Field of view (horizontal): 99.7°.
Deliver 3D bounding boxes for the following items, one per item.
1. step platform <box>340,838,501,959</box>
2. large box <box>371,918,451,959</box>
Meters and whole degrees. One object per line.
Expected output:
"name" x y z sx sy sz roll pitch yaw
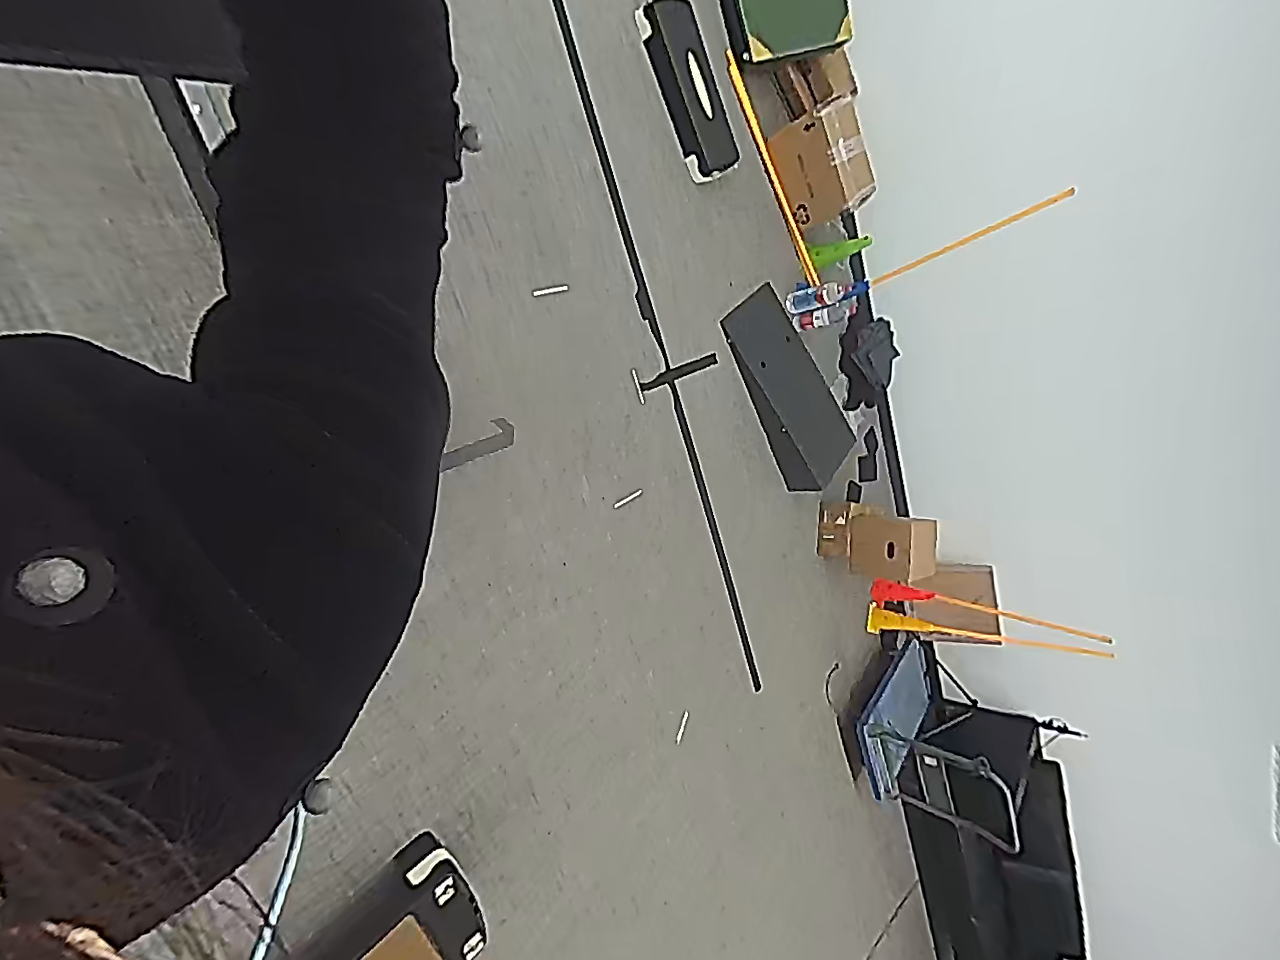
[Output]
"step platform" -0.677 1.228 1.290 0.684 0.204 0.286 -22 104 -42
"large box" -0.525 1.257 1.104 0.408 0.320 0.320 -29 108 -41
